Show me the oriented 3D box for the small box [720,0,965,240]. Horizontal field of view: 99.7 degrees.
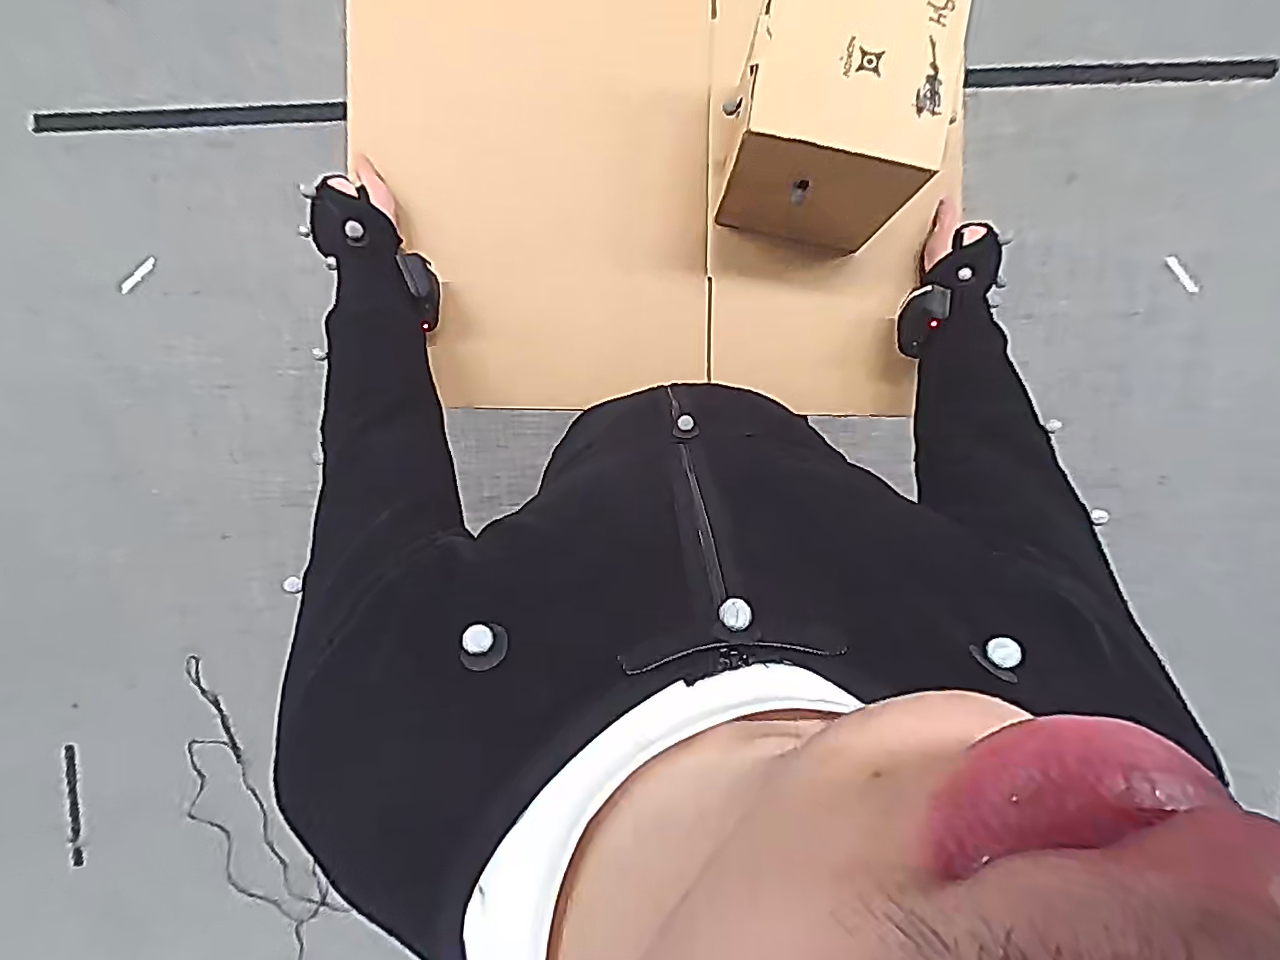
[{"bbox_3d":[0.188,-0.371,0.555,0.179,0.176,0.168,11,90,-1],"label":"small box"}]
